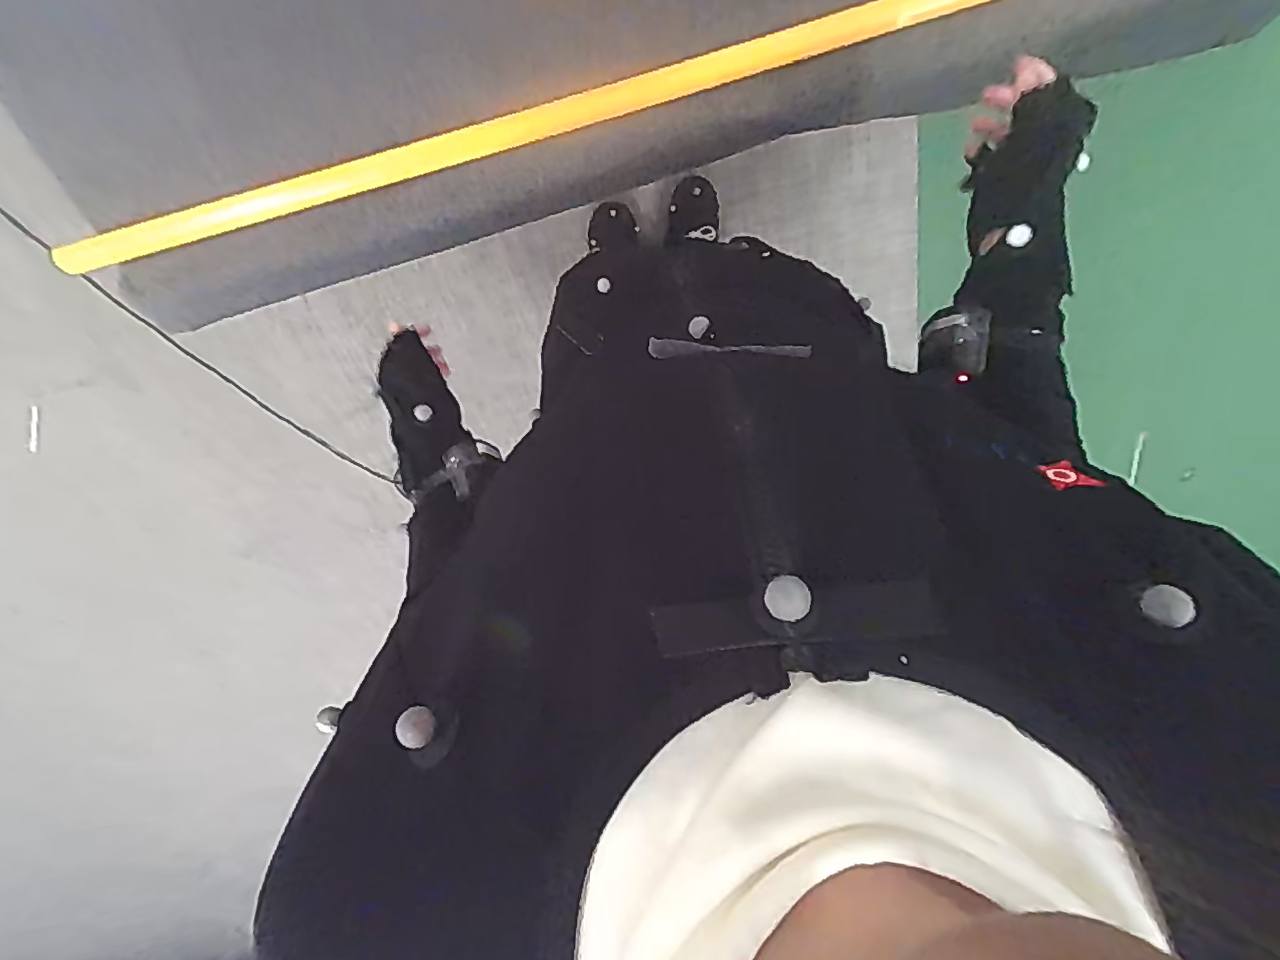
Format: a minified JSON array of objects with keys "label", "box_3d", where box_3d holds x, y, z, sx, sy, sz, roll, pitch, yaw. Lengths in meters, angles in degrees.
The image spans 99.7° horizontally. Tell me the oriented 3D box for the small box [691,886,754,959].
[{"label":"small box","box_3d":[0.289,1.577,1.907,0.168,0.176,0.179,-19,119,5]}]
